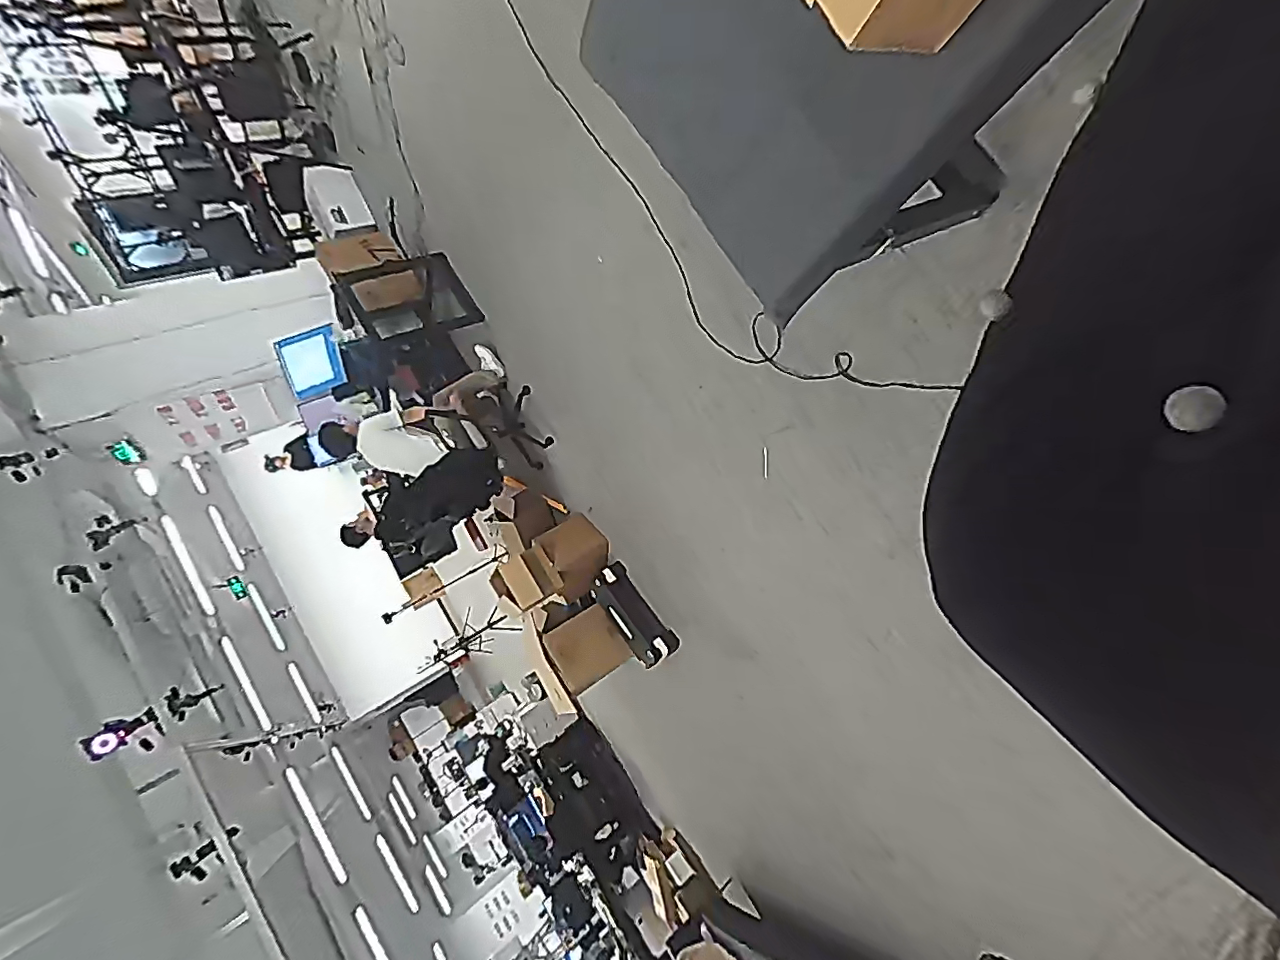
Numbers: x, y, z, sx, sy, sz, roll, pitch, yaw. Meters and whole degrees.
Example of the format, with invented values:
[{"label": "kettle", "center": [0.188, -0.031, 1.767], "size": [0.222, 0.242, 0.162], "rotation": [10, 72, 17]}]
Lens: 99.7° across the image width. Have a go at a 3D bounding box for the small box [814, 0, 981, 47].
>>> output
[{"label": "small box", "center": [0.252, -0.529, 0.479], "size": [0.168, 0.176, 0.179], "rotation": [60, 150, 7]}]
